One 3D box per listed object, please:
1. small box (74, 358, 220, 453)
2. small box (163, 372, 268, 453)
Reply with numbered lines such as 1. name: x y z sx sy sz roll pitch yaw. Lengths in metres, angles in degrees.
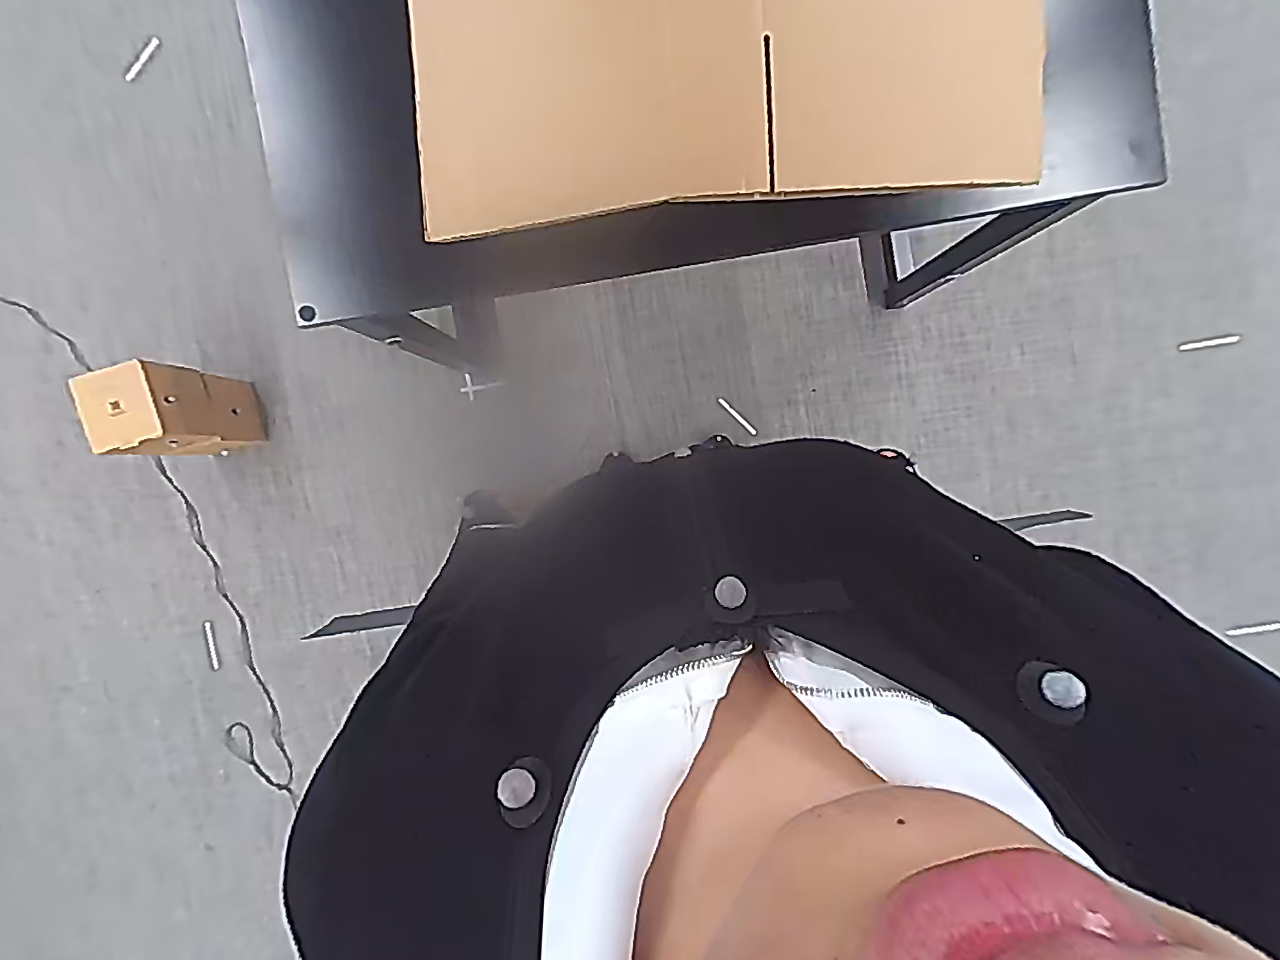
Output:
1. small box: -1.137 -0.168 1.264 0.168 0.176 0.179 -16 92 1
2. small box: -1.132 -0.172 1.427 0.168 0.176 0.179 -13 94 2
